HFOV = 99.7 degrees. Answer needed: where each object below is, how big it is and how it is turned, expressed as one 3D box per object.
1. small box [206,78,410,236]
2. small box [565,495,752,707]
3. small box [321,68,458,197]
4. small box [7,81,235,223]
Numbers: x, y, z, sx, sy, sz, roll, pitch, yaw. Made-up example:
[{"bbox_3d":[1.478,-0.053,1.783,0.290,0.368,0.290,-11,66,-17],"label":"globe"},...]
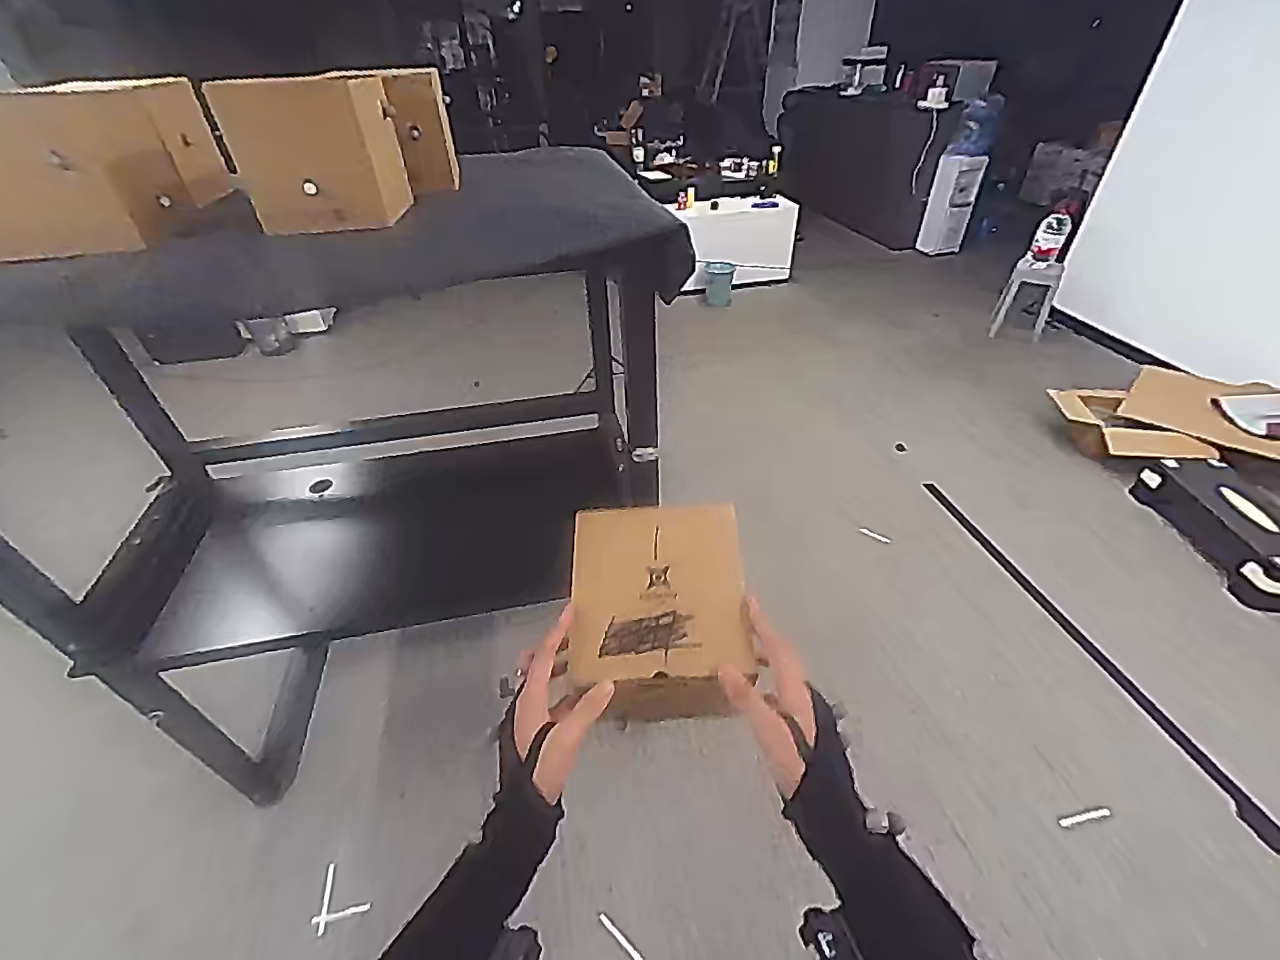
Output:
[{"bbox_3d":[-0.434,-0.447,0.748,0.168,0.176,0.179,-7,39,-5],"label":"small box"},{"bbox_3d":[0.022,0.137,0.573,0.168,0.176,0.179,-4,56,3],"label":"small box"},{"bbox_3d":[-0.412,-0.590,0.923,0.168,0.176,0.179,-9,40,-10],"label":"small box"},{"bbox_3d":[-0.805,-0.528,0.870,0.179,0.176,0.168,-9,40,-7],"label":"small box"}]
